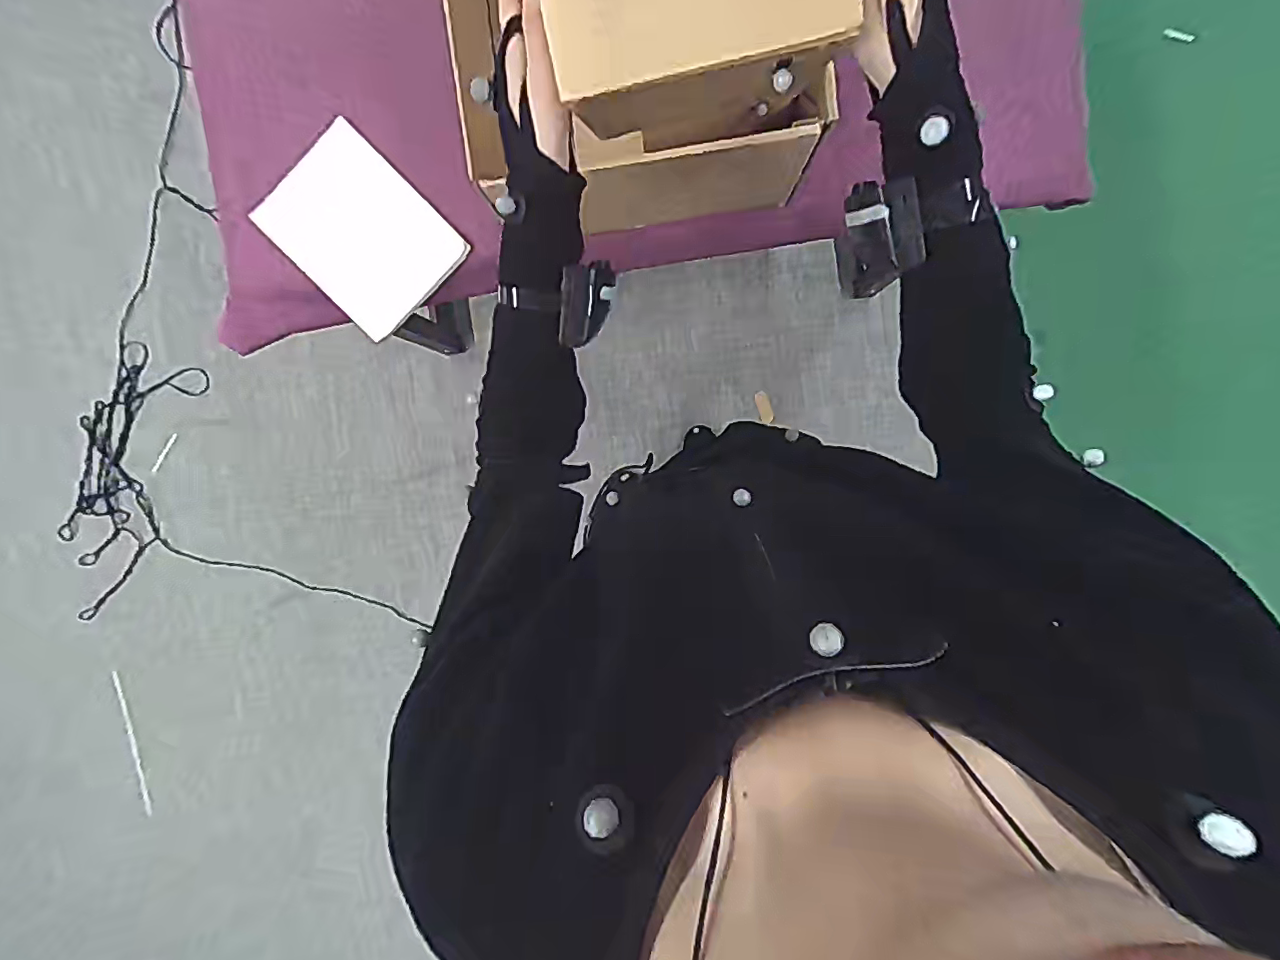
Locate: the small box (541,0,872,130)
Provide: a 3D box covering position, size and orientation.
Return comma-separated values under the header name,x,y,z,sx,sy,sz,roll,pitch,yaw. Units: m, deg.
name,x,y,z,sx,sy,sz,roll,pitch,yaw
small box,0.028,-0.340,0.338,0.179,0.176,0.168,-9,115,6
